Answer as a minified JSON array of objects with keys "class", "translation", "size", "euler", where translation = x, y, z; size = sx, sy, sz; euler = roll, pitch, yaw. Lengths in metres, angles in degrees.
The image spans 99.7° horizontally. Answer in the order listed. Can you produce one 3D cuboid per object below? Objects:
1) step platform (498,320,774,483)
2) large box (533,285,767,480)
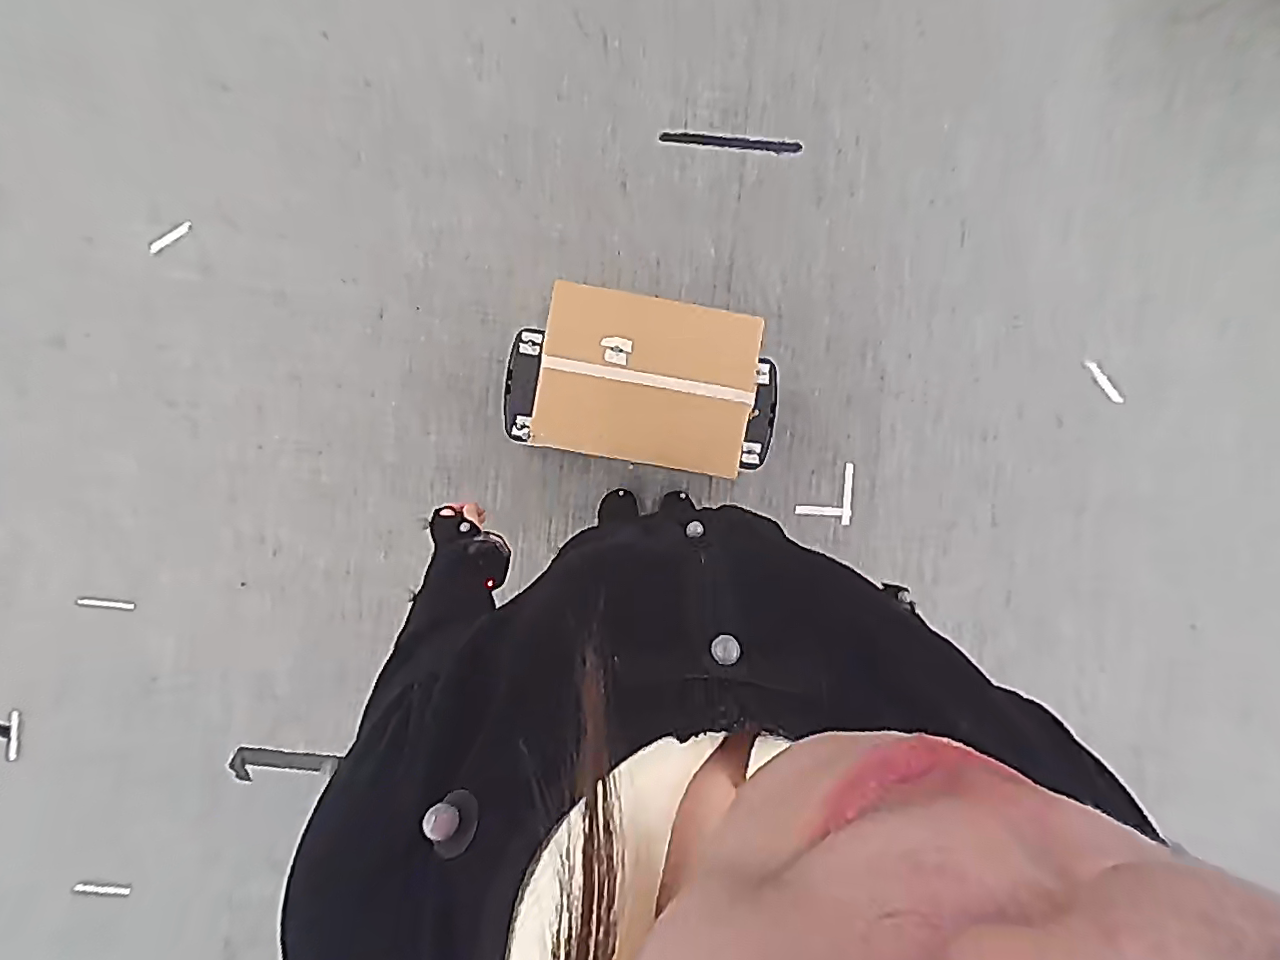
[{"class":"step platform","translation":[-0.009,-0.194,1.392],"size":[0.684,0.204,0.286],"euler":[12,92,0]},{"class":"large box","translation":[0.021,-0.186,1.154],"size":[0.408,0.320,0.320],"euler":[10,91,0]}]
